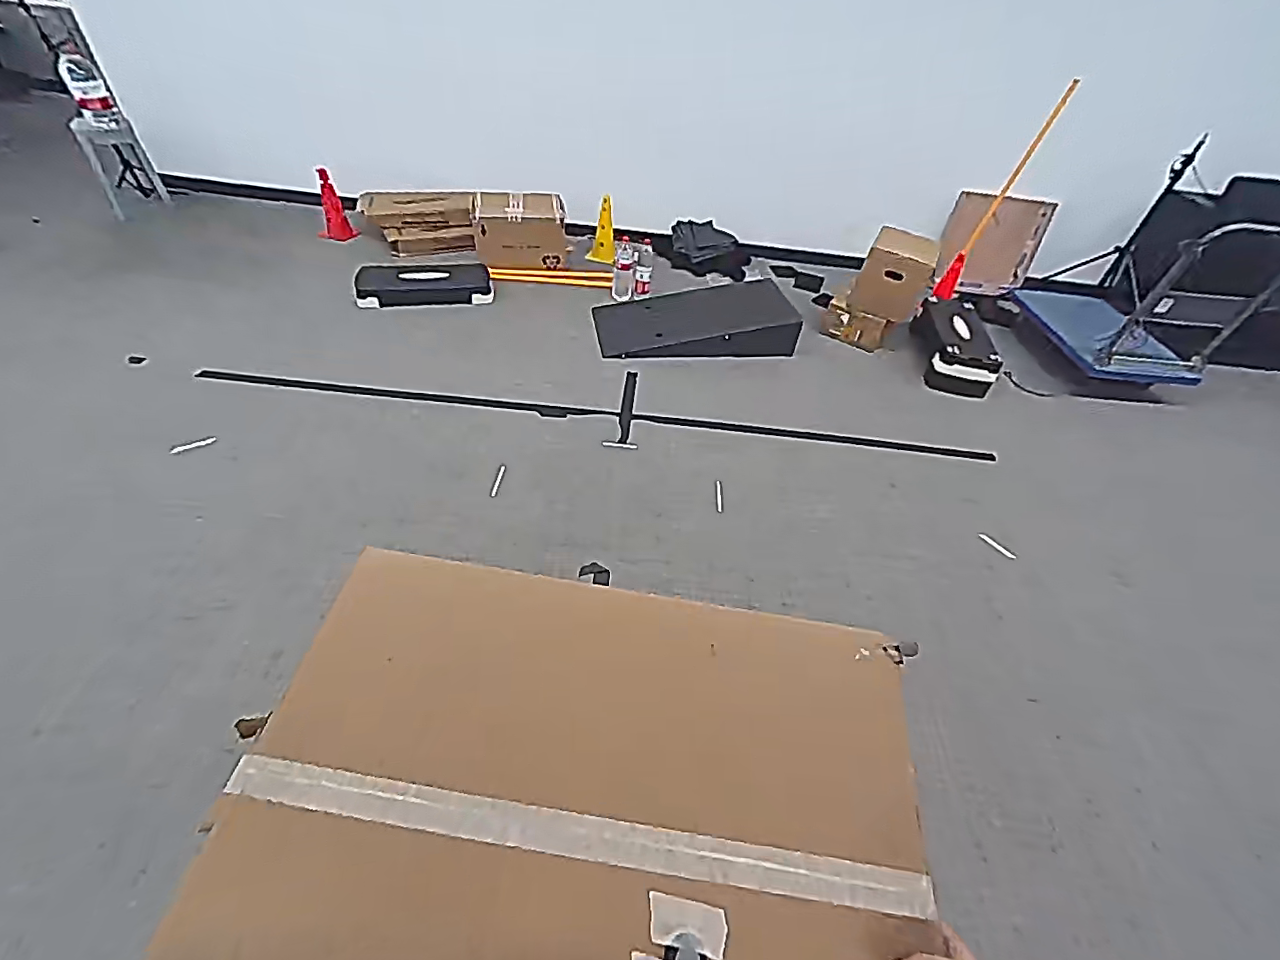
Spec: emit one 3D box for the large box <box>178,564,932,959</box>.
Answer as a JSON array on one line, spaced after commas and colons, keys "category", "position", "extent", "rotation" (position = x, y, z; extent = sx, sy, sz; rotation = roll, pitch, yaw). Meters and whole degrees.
[{"category": "large box", "position": [-0.042, 0.301, 0.440], "extent": [0.408, 0.320, 0.320], "rotation": [9, 53, 2]}]
